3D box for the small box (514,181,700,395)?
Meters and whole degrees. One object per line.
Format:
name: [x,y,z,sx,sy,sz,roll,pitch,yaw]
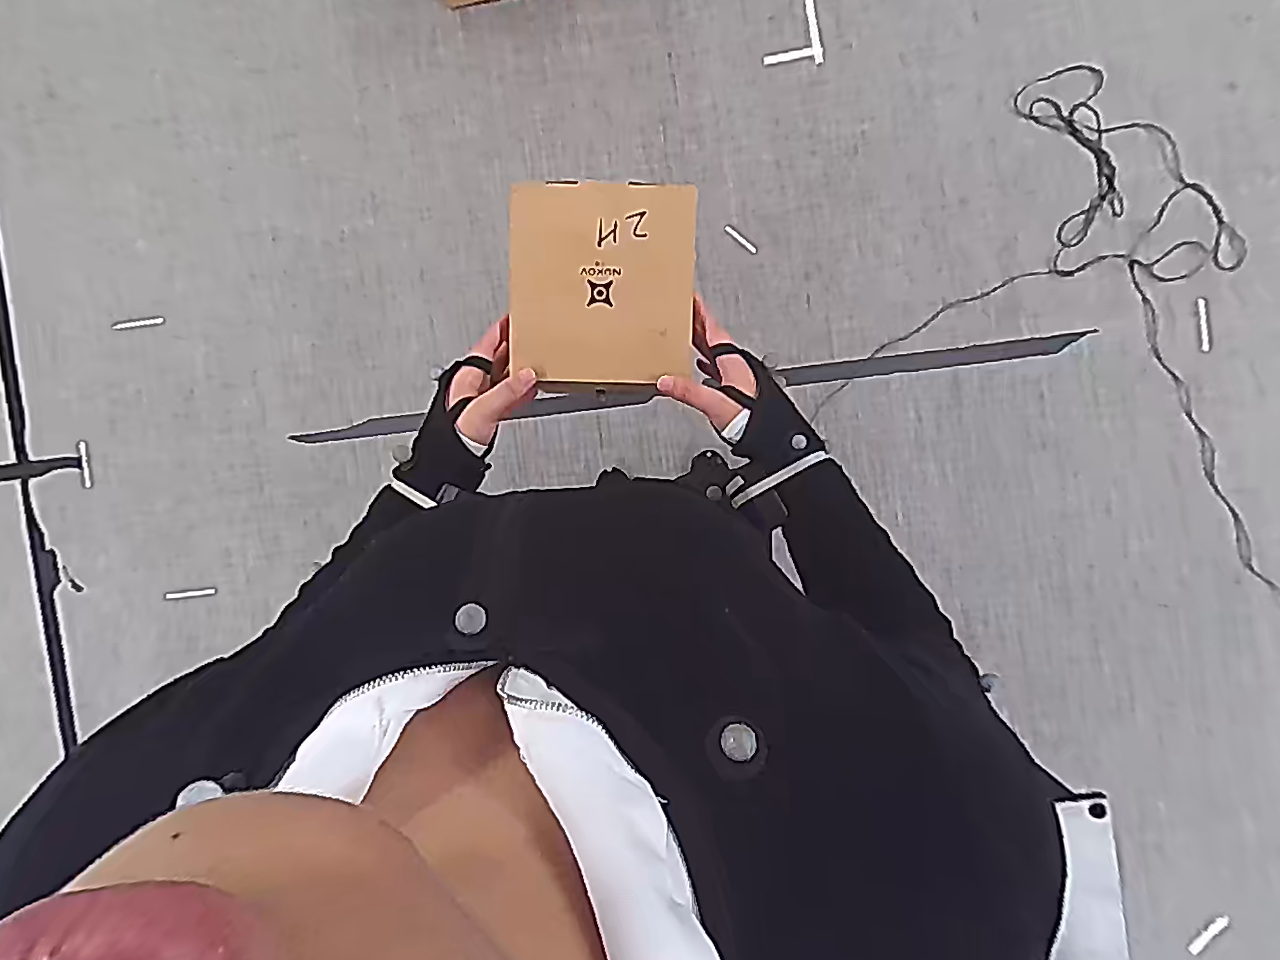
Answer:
small box: [-0.031,-0.184,0.567,0.168,0.176,0.179,2,94,-1]
